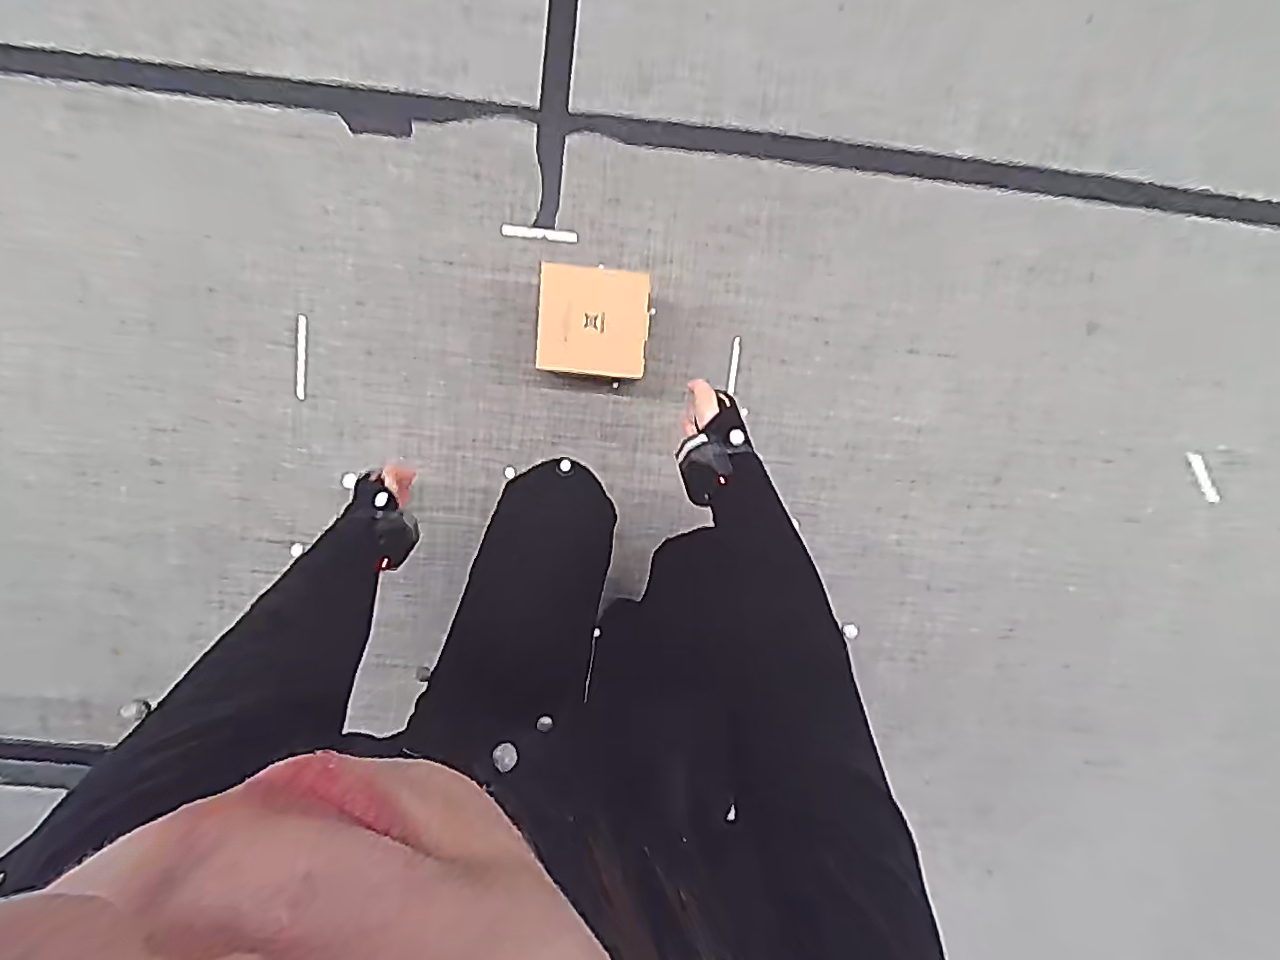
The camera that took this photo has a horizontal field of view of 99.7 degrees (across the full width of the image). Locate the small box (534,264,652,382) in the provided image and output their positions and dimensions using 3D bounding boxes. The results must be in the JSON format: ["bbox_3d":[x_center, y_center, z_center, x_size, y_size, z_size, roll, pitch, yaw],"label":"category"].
[{"bbox_3d":[-0.080,-0.259,0.930,0.179,0.176,0.168,5,98,-4],"label":"small box"}]
